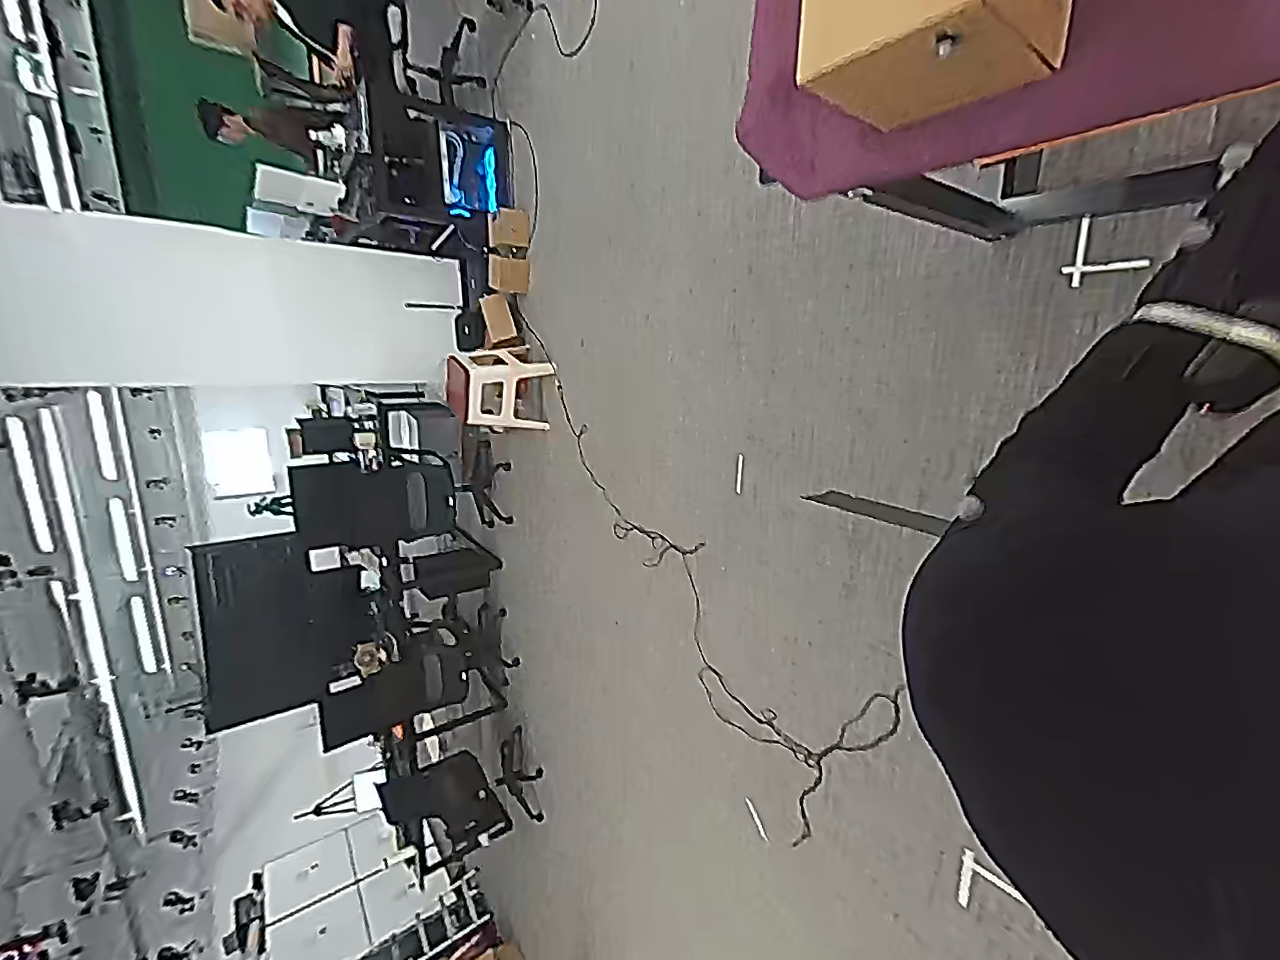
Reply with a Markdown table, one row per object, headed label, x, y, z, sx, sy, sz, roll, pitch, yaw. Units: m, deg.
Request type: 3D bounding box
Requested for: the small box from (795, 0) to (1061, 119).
| label | x | y | z | sx | sy | sz | roll | pitch | yaw |
| --- | --- | --- | --- | --- | --- | --- | --- | --- | --- |
| small box | 0.277 | -0.481 | 0.517 | 0.179 | 0.176 | 0.168 | 16 | 109 | 52 |
